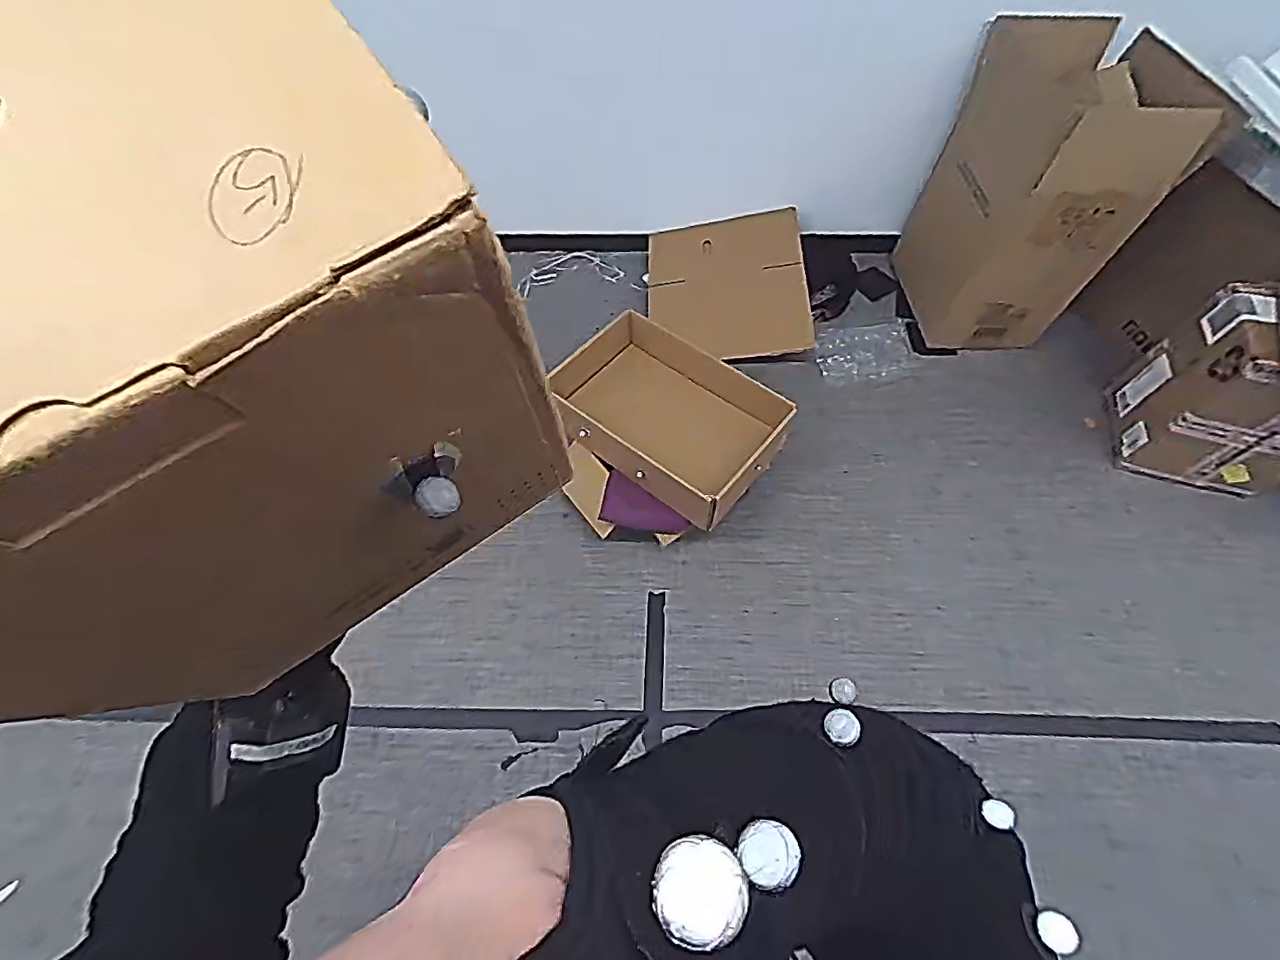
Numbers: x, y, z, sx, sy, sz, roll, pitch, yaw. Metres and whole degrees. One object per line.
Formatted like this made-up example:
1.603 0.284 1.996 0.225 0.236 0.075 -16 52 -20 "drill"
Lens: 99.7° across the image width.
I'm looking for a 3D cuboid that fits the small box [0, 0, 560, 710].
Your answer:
-0.146 -0.041 0.196 0.168 0.176 0.179 -35 75 -12 "small box"
